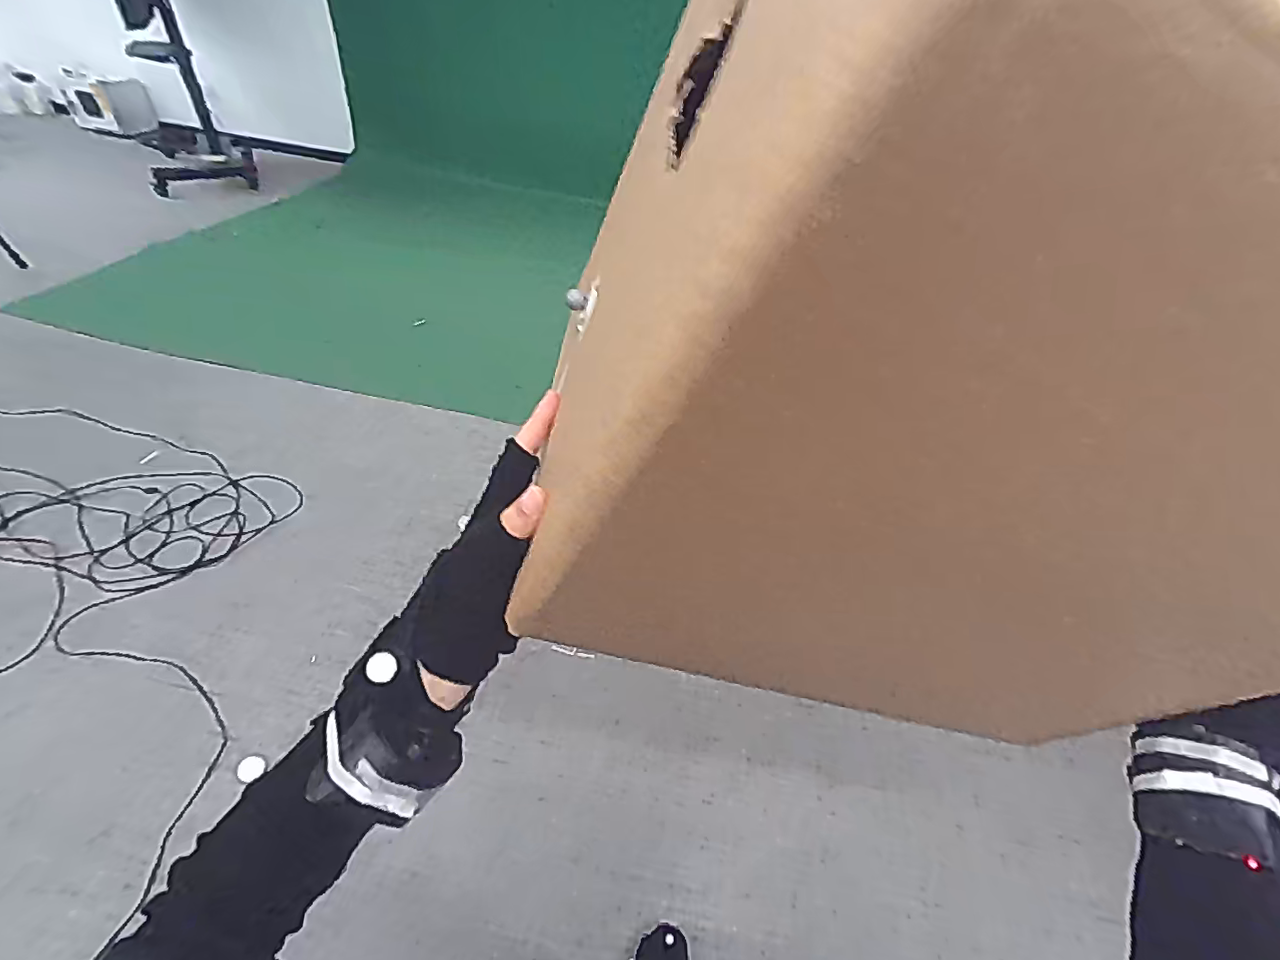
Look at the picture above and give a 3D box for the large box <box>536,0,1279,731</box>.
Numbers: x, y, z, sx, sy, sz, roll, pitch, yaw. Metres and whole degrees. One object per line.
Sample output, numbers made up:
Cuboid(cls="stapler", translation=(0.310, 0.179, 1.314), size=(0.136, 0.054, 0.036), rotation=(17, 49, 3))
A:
Cuboid(cls="large box", translation=(0.185, -0.061, 0.346), size=(0.408, 0.320, 0.320), rotation=(19, 50, -17))
